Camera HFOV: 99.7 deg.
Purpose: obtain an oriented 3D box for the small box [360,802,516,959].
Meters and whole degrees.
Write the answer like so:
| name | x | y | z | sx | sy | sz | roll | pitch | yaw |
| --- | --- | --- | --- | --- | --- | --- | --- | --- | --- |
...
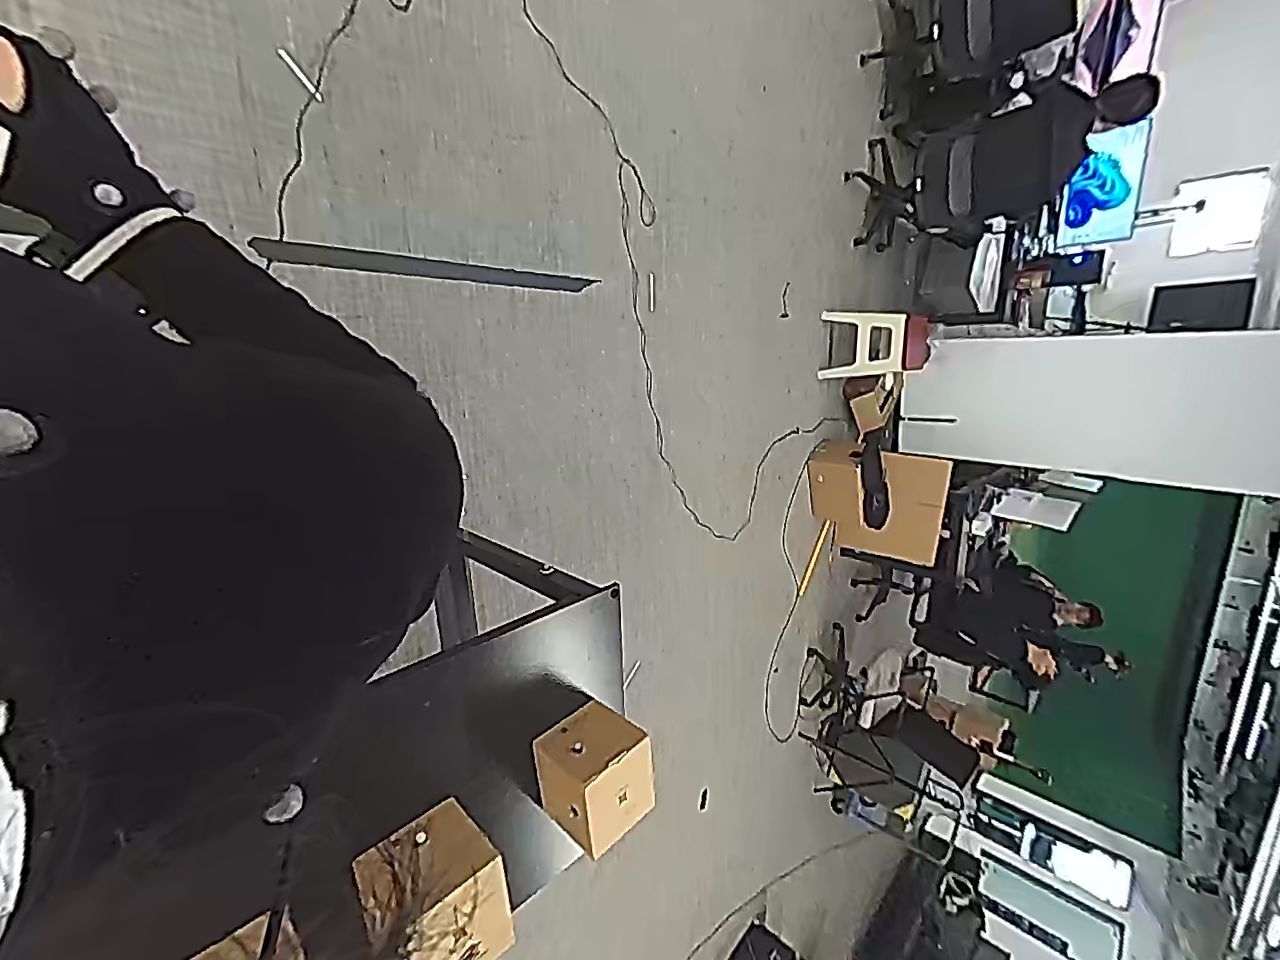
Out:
| name | x | y | z | sx | sy | sz | roll | pitch | yaw |
| --- | --- | --- | --- | --- | --- | --- | --- | --- | --- |
| small box | -0.317 | 0.663 | 0.854 | 0.168 | 0.176 | 0.179 | -17 | 110 | -43 |

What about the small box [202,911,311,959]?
| name | x | y | z | sx | sy | sz | roll | pitch | yaw |
| --- | --- | --- | --- | --- | --- | --- | --- | --- | --- |
| small box | -0.500 | 0.707 | 0.673 | 0.179 | 0.176 | 0.168 | -14 | 109 | -45 |

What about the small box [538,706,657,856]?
| name | x | y | z | sx | sy | sz | roll | pitch | yaw |
| --- | --- | --- | --- | --- | --- | --- | --- | --- | --- |
| small box | -0.087 | 0.582 | 1.080 | 0.168 | 0.176 | 0.179 | -20 | 113 | -41 |
